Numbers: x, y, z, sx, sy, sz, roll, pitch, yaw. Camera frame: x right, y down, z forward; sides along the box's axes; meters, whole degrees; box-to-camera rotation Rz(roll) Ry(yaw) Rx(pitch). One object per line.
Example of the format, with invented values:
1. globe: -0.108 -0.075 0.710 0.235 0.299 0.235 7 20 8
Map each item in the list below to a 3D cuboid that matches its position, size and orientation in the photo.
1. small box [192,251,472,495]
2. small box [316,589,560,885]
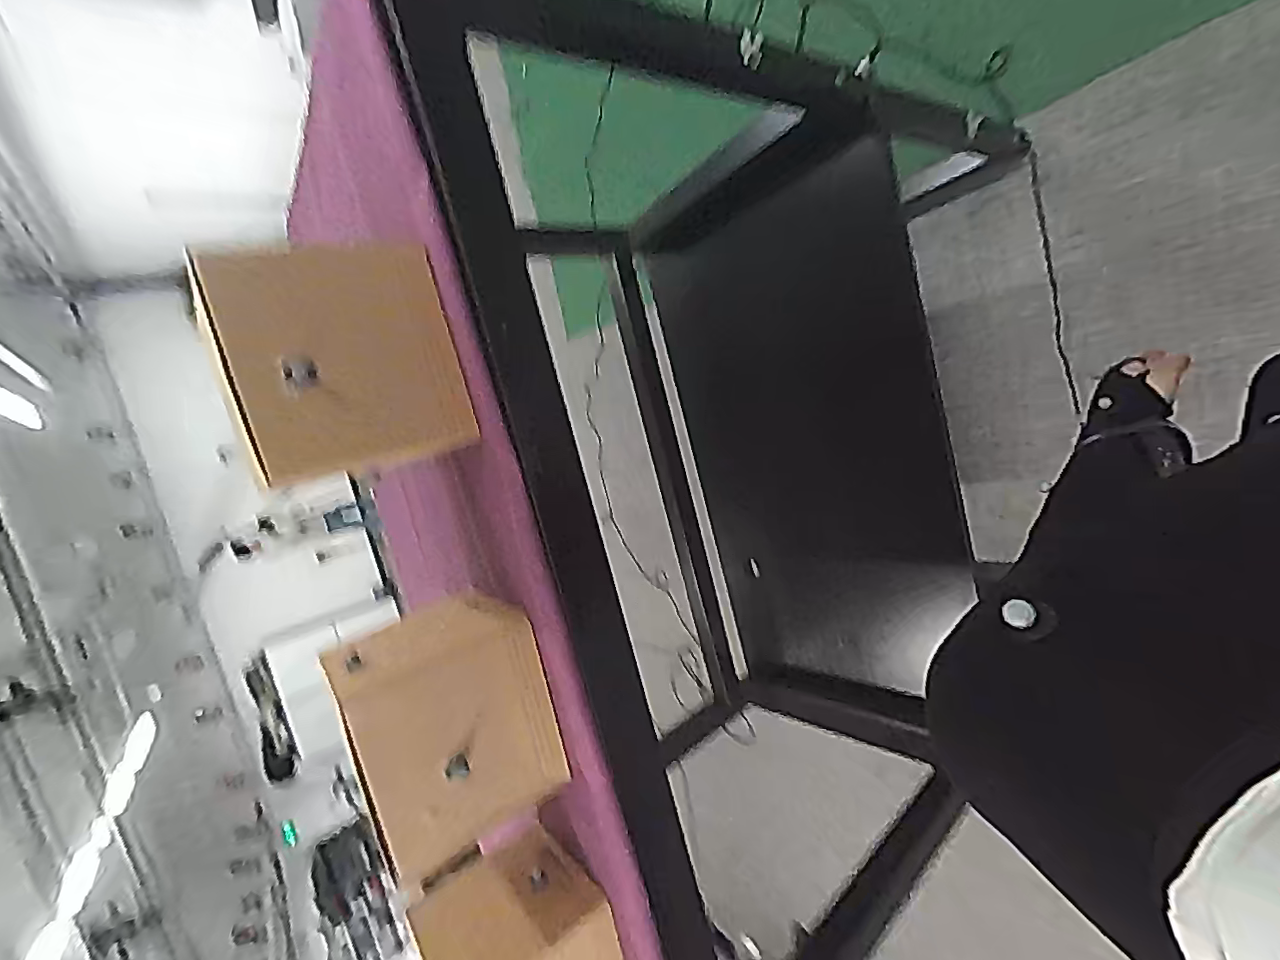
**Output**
1. small box: -0.274 -0.095 0.498 0.168 0.176 0.179 -7 99 53
2. small box: -0.199 0.231 0.540 0.168 0.176 0.179 -2 104 54
